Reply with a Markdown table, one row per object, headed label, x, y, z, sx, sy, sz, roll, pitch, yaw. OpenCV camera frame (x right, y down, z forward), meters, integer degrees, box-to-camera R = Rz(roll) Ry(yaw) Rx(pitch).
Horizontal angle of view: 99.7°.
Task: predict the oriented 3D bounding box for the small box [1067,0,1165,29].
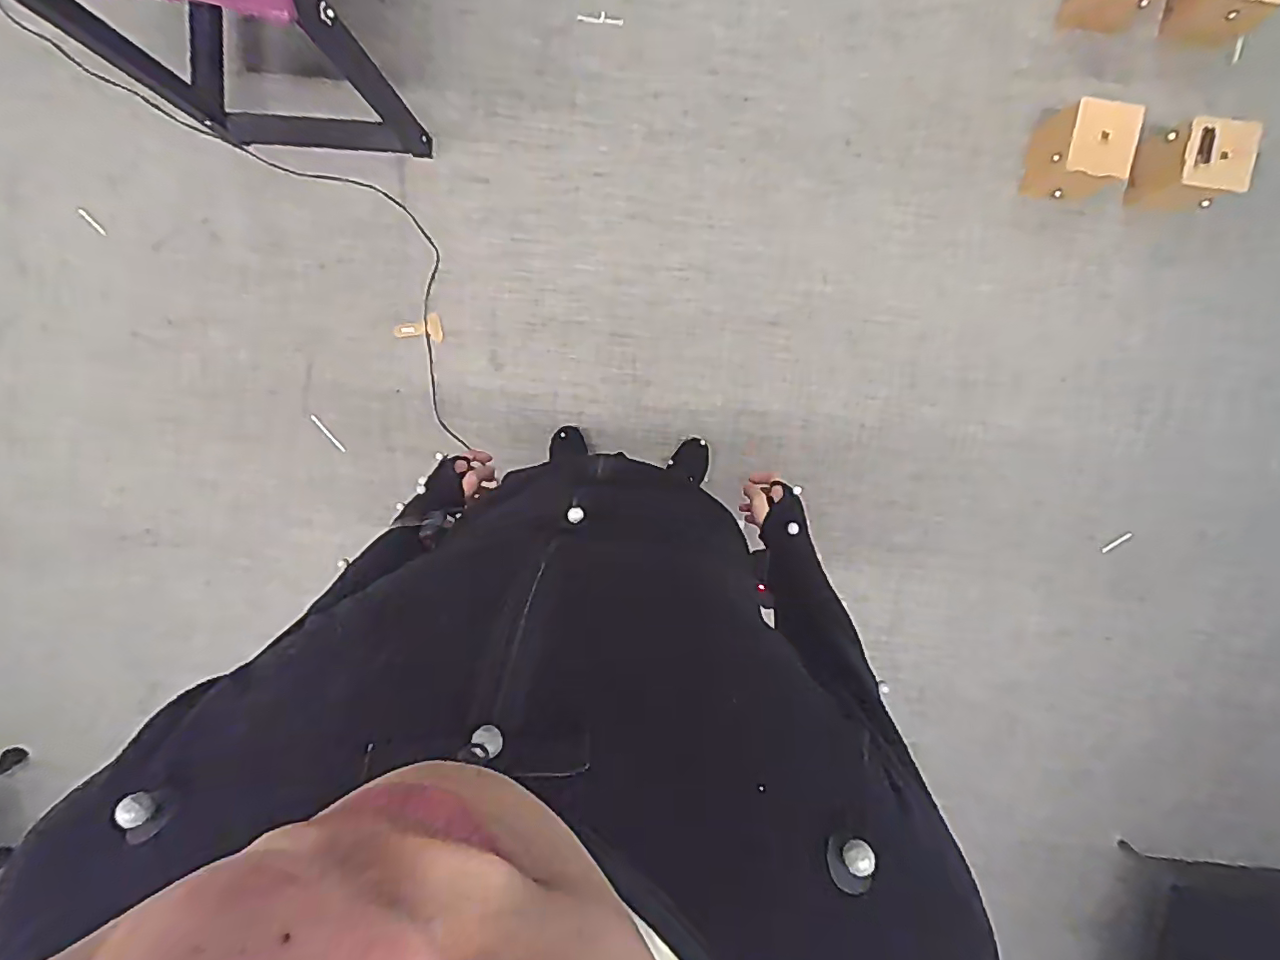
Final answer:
| label | x | y | z | sx | sy | sz | roll | pitch | yaw |
| --- | --- | --- | --- | --- | --- | --- | --- | --- | --- |
| small box | 1.244 | -1.291 | 1.366 | 0.179 | 0.176 | 0.168 | 8 | 97 | 0 |

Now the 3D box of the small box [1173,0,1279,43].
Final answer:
| label | x | y | z | sx | sy | sz | roll | pitch | yaw |
| --- | --- | --- | --- | --- | --- | --- | --- | --- | --- |
| small box | 1.519 | -1.253 | 1.365 | 0.179 | 0.176 | 0.168 | 8 | 97 | 0 |

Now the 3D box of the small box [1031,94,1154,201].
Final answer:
| label | x | y | z | sx | sy | sz | roll | pitch | yaw |
| --- | --- | --- | --- | --- | --- | --- | --- | --- | --- |
| small box | 1.176 | -0.865 | 1.422 | 0.168 | 0.176 | 0.179 | 8 | 98 | 0 |
